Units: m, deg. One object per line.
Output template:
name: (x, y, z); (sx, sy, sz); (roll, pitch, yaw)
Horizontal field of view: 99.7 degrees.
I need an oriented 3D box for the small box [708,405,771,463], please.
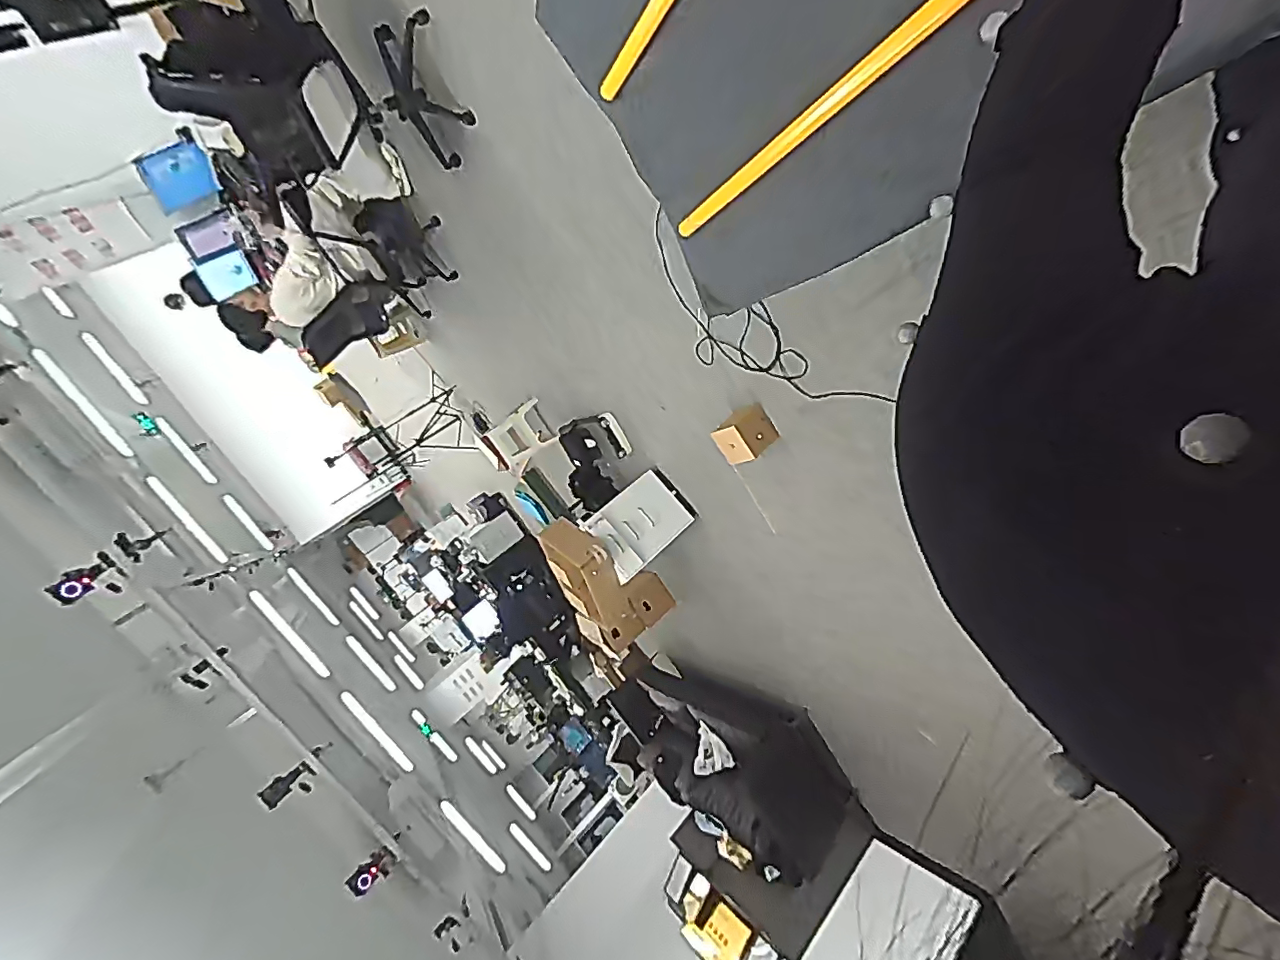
small box: (0.425, -0.193, 2.268); (0.168, 0.176, 0.179); (55, 155, -10)
